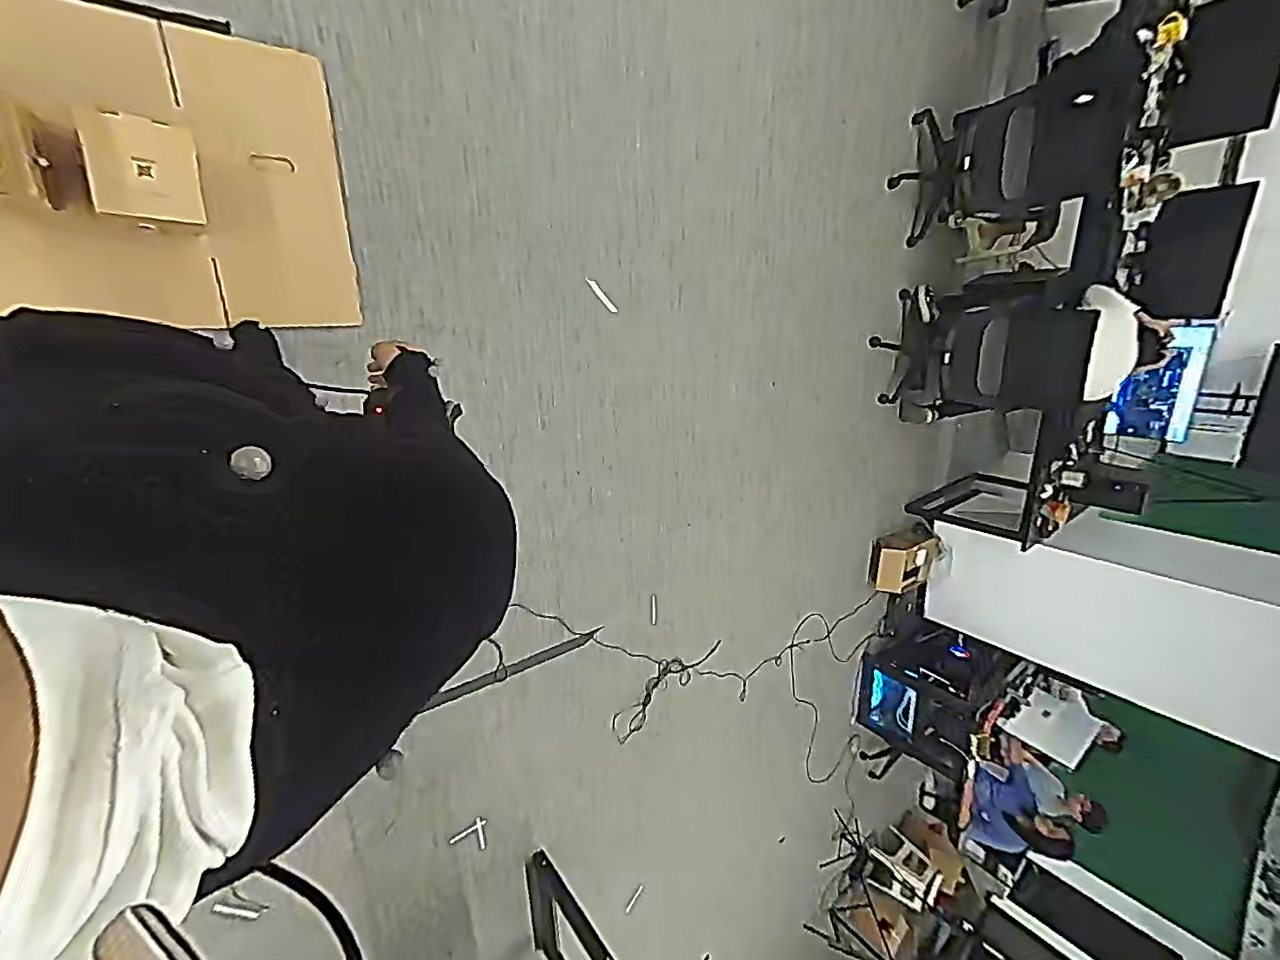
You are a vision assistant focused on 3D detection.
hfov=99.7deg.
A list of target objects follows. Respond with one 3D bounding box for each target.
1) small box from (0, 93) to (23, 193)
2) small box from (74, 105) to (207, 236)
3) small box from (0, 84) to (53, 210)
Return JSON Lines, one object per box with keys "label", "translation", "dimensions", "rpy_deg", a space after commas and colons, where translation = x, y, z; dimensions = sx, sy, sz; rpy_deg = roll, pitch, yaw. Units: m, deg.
{"label": "small box", "translation": [-1.070, -0.548, 0.798], "dimensions": [0.168, 0.176, 0.179], "rpy_deg": [-10, 109, -36]}
{"label": "small box", "translation": [-0.982, -0.599, 1.073], "dimensions": [0.168, 0.176, 0.179], "rpy_deg": [-10, 109, -38]}
{"label": "small box", "translation": [-1.163, -0.578, 0.931], "dimensions": [0.168, 0.176, 0.179], "rpy_deg": [-11, 110, -36]}
